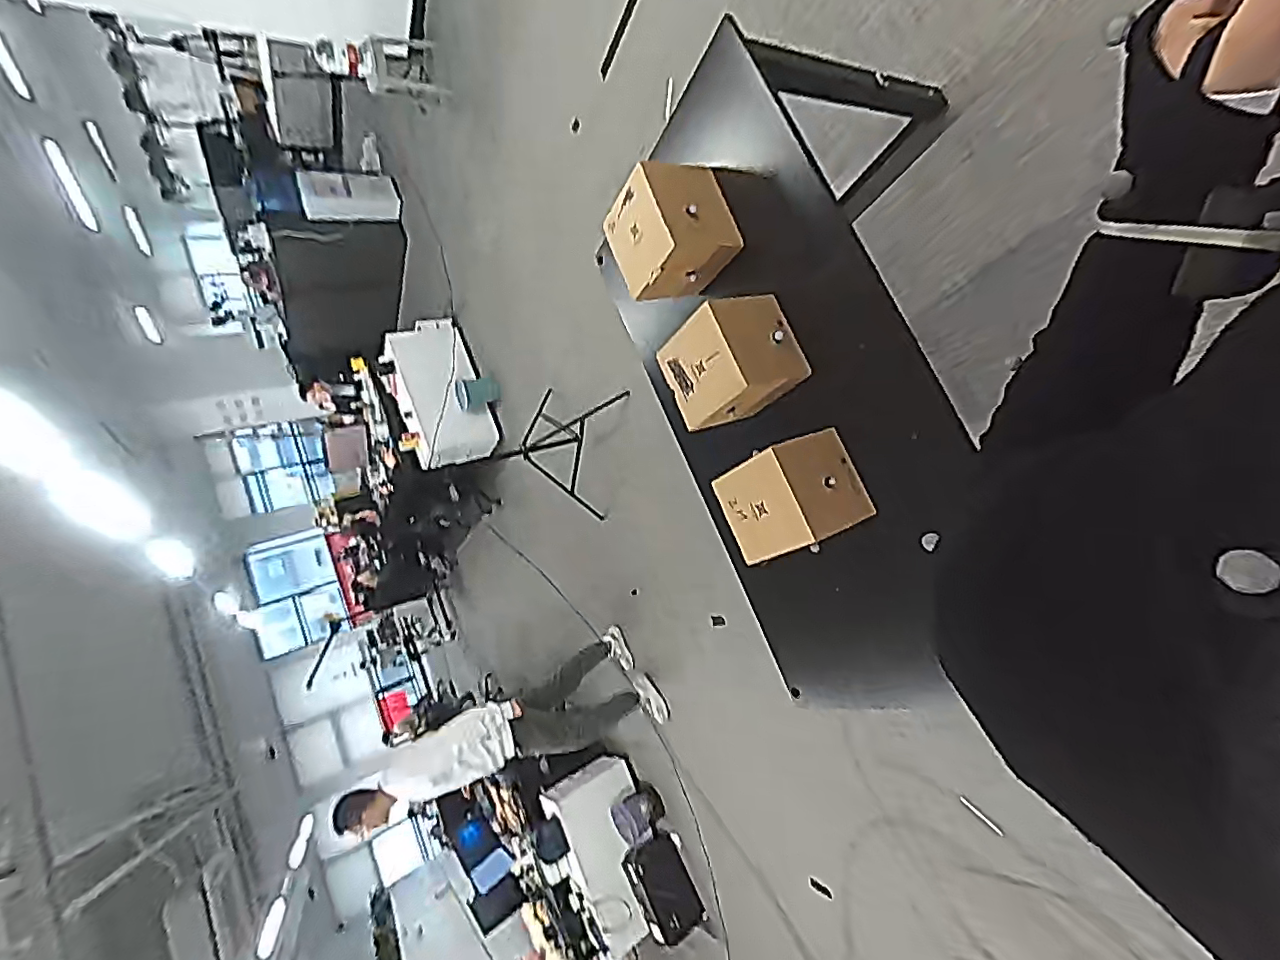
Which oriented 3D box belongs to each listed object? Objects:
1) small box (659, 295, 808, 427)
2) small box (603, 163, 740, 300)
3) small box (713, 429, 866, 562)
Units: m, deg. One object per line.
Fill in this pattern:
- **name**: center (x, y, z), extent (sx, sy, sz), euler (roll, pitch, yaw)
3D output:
- **small box**: center (0.169, -0.217, 0.992), extent (0.179, 0.176, 0.168), euler (-37, 74, 56)
- **small box**: center (0.061, -0.474, 1.035), extent (0.168, 0.176, 0.179), euler (-33, 78, 57)
- **small box**: center (0.268, 0.026, 0.957), extent (0.179, 0.176, 0.168), euler (-38, 73, 57)
